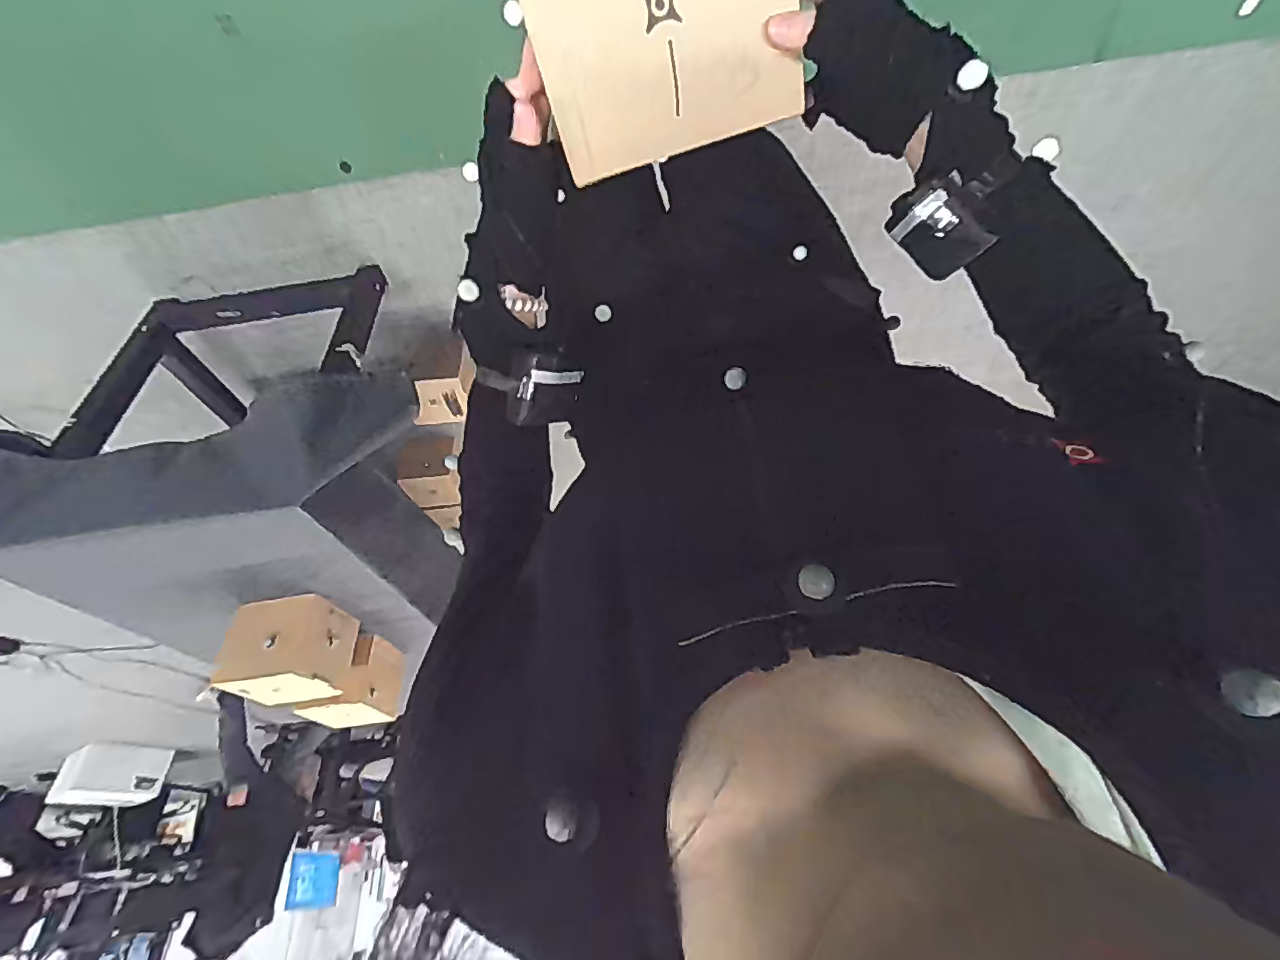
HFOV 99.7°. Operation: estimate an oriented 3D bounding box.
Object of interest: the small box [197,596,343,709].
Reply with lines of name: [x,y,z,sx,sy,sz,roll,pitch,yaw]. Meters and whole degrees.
small box: [-0.742,0.353,1.112,0.179,0.176,0.168,-10,144,2]
